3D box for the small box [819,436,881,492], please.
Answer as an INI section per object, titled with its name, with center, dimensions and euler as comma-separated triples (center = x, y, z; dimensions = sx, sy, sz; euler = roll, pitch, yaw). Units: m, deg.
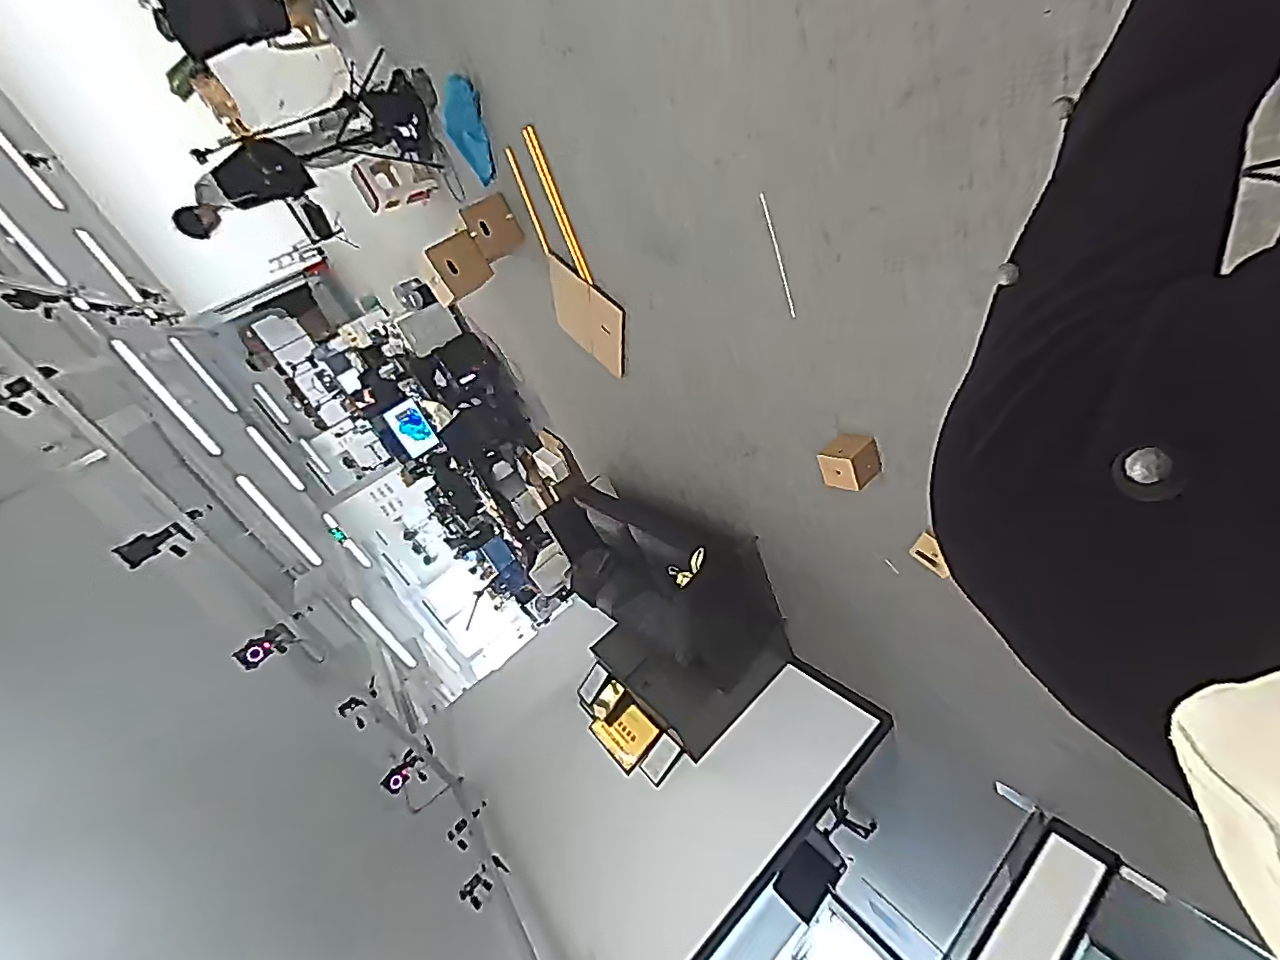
[small box]
center = 0.903, -0.075, 2.309
dimensions = 0.179, 0.176, 0.168
euler = 18, 140, 56
